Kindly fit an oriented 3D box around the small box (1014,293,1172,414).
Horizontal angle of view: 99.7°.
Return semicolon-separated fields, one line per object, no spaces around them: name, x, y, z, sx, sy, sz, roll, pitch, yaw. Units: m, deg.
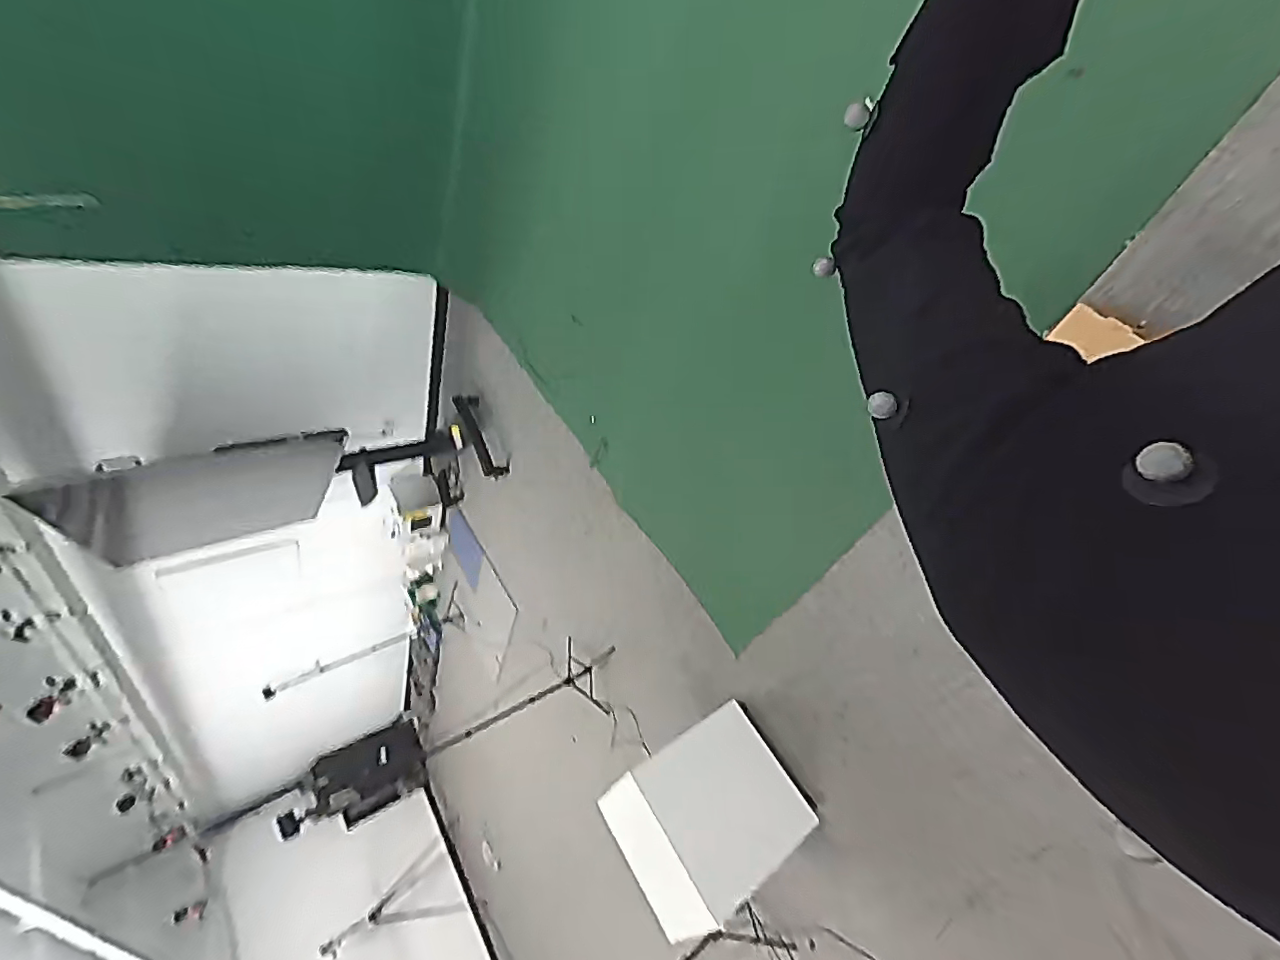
small box;0.921;-0.260;1.099;0.168;0.176;0.179;50;135;28
